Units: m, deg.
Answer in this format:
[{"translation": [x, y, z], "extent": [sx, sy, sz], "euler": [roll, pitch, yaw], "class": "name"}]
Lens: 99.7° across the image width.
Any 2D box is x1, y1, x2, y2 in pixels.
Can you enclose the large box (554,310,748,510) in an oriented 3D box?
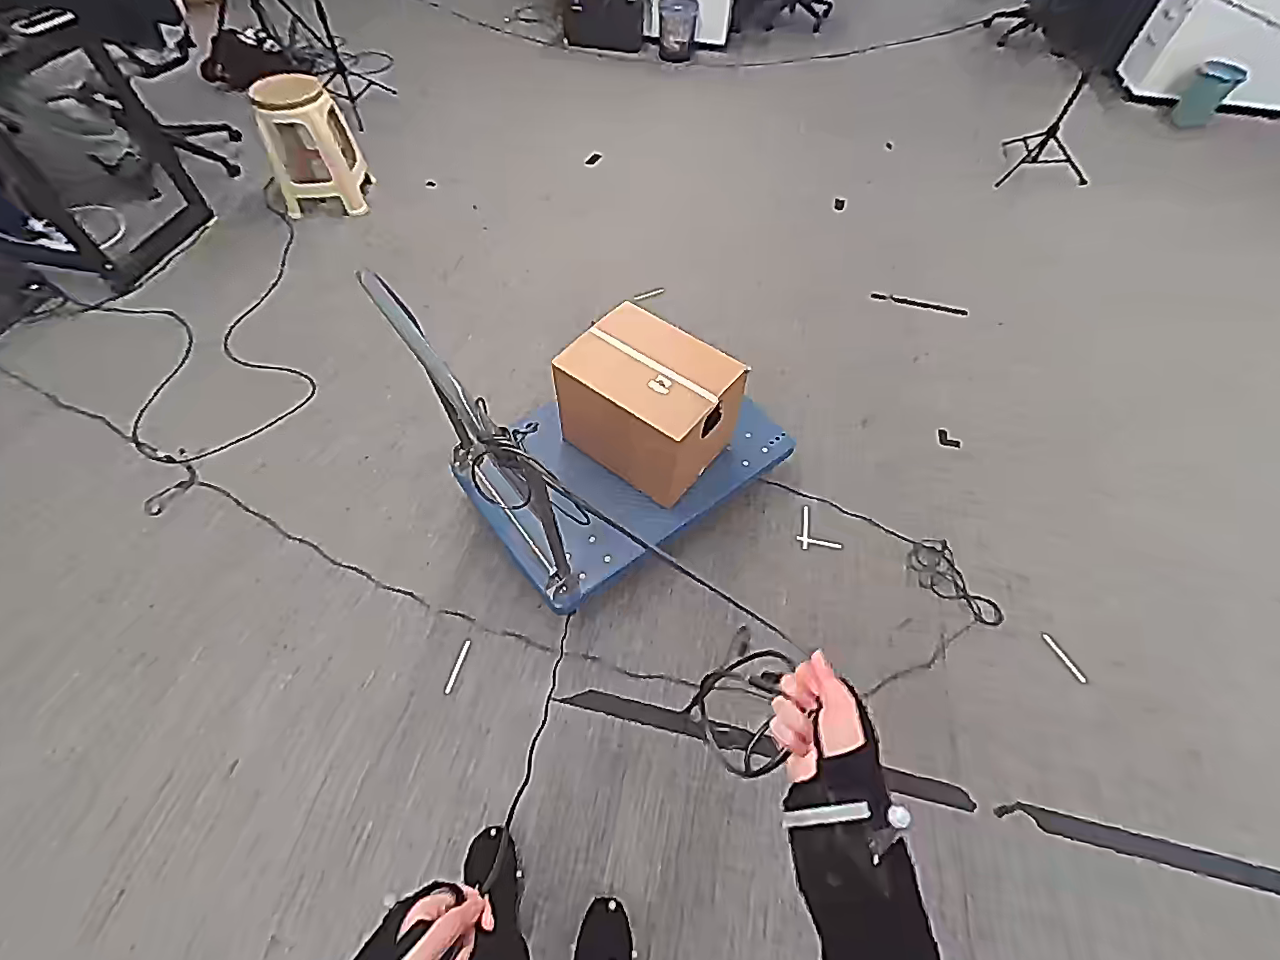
[{"translation": [0.022, -0.192, 1.490], "extent": [0.408, 0.320, 0.320], "euler": [34, 62, 18], "class": "large box"}]
